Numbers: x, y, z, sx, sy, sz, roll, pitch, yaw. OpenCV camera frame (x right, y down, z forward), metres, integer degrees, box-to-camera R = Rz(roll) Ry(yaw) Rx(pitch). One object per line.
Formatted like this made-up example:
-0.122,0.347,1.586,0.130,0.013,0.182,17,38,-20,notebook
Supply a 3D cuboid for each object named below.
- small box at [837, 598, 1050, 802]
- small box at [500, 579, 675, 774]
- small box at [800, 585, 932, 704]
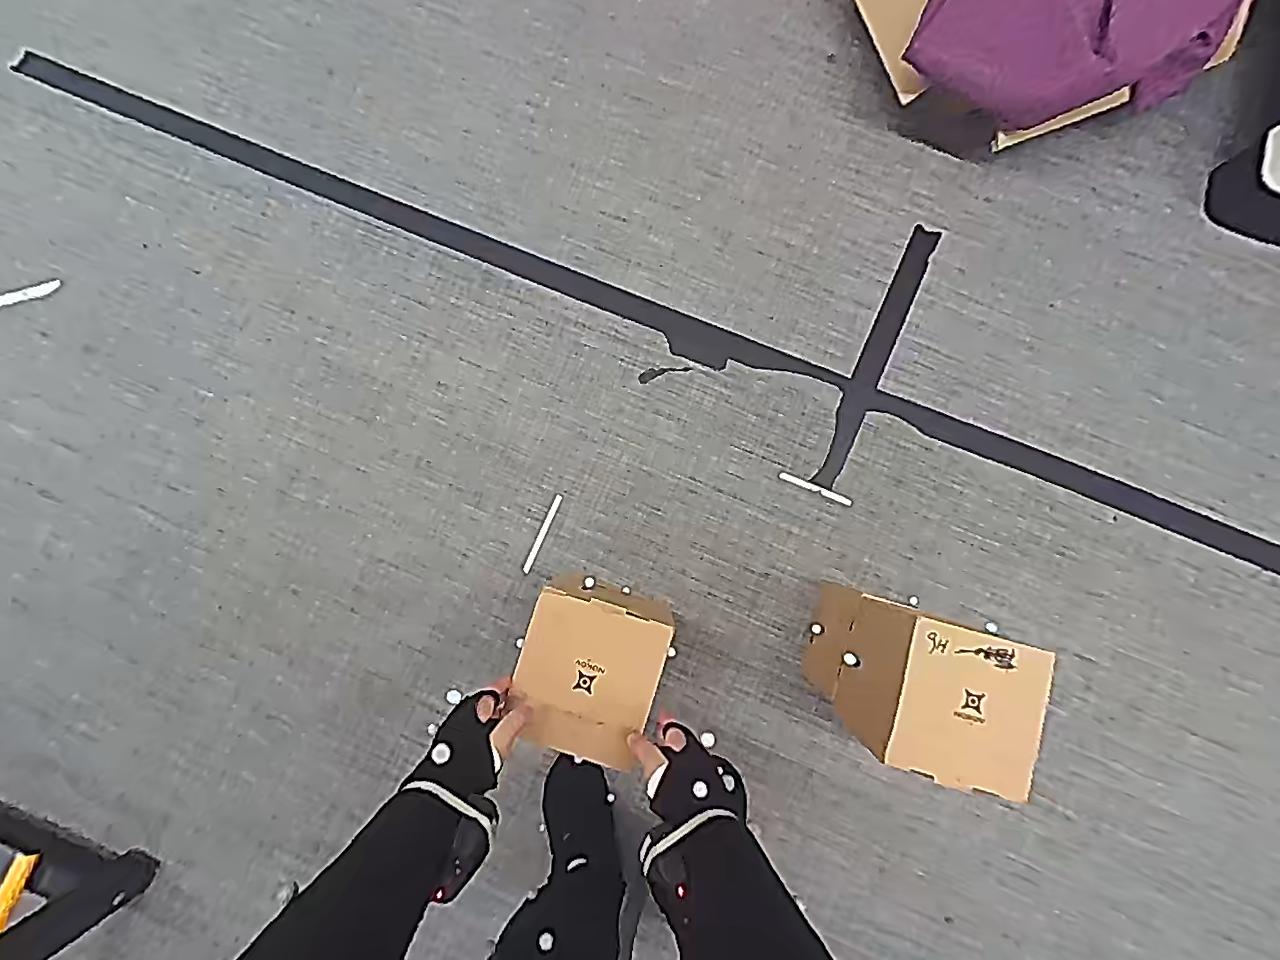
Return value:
0.373,0.267,0.700,0.168,0.176,0.179,16,86,2,small box
-0.059,0.238,0.707,0.168,0.176,0.179,16,87,4,small box
0.380,0.274,0.864,0.179,0.176,0.168,17,85,2,small box
